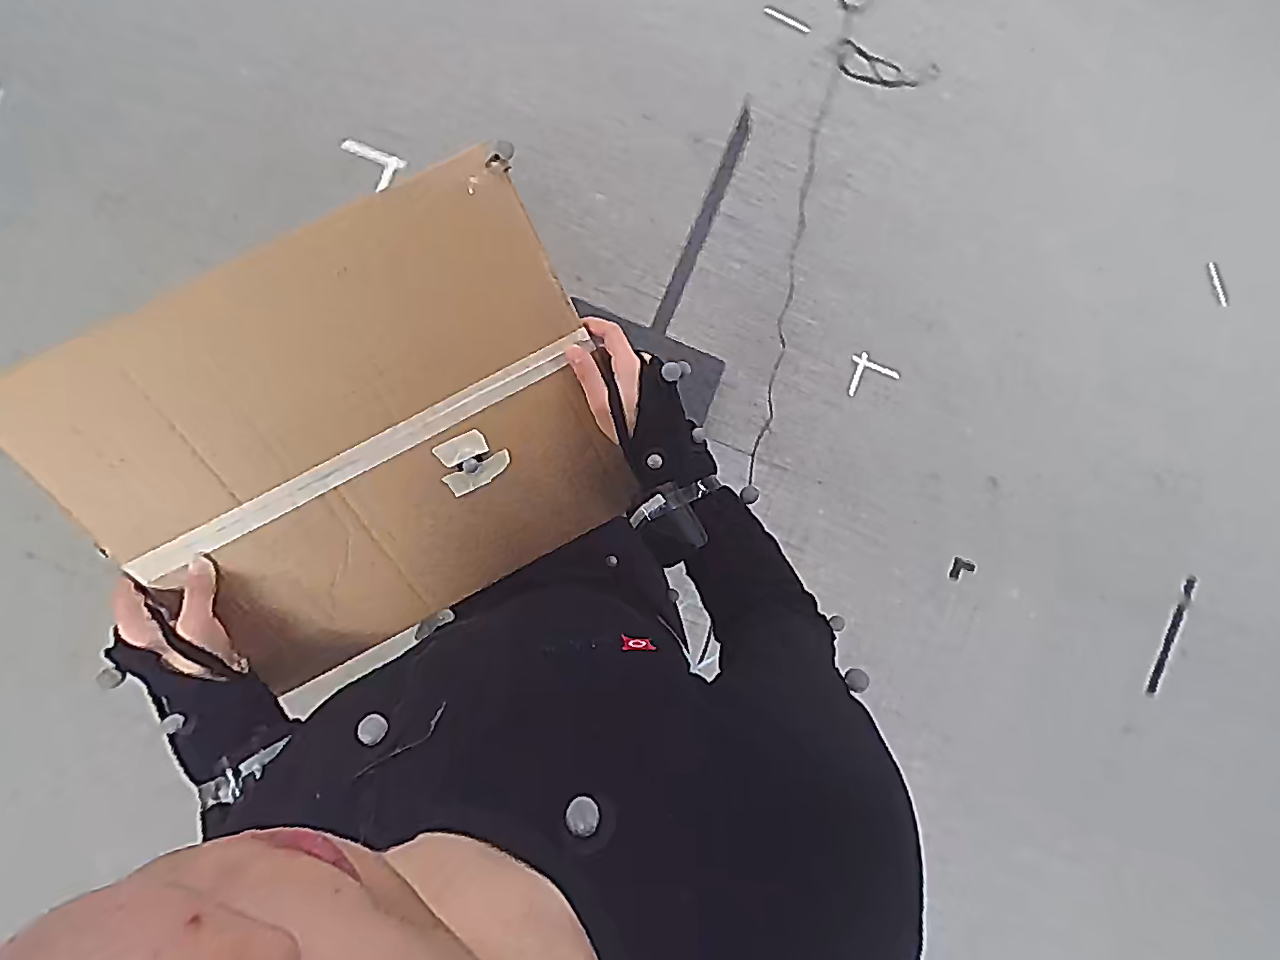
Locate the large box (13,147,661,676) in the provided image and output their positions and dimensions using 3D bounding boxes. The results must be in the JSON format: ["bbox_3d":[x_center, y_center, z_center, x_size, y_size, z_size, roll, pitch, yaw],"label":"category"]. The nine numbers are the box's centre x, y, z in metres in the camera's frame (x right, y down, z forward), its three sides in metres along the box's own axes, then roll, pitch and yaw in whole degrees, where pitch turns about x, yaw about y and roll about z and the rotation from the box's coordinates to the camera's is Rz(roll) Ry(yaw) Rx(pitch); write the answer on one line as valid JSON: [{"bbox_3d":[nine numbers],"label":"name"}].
[{"bbox_3d":[-0.249,-0.081,0.588,0.408,0.320,0.320,-28,115,-5],"label":"large box"}]

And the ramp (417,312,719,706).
[{"bbox_3d":[-0.157,0.028,1.451,0.509,0.206,0.991,20,86,-4],"label":"ramp"}]
